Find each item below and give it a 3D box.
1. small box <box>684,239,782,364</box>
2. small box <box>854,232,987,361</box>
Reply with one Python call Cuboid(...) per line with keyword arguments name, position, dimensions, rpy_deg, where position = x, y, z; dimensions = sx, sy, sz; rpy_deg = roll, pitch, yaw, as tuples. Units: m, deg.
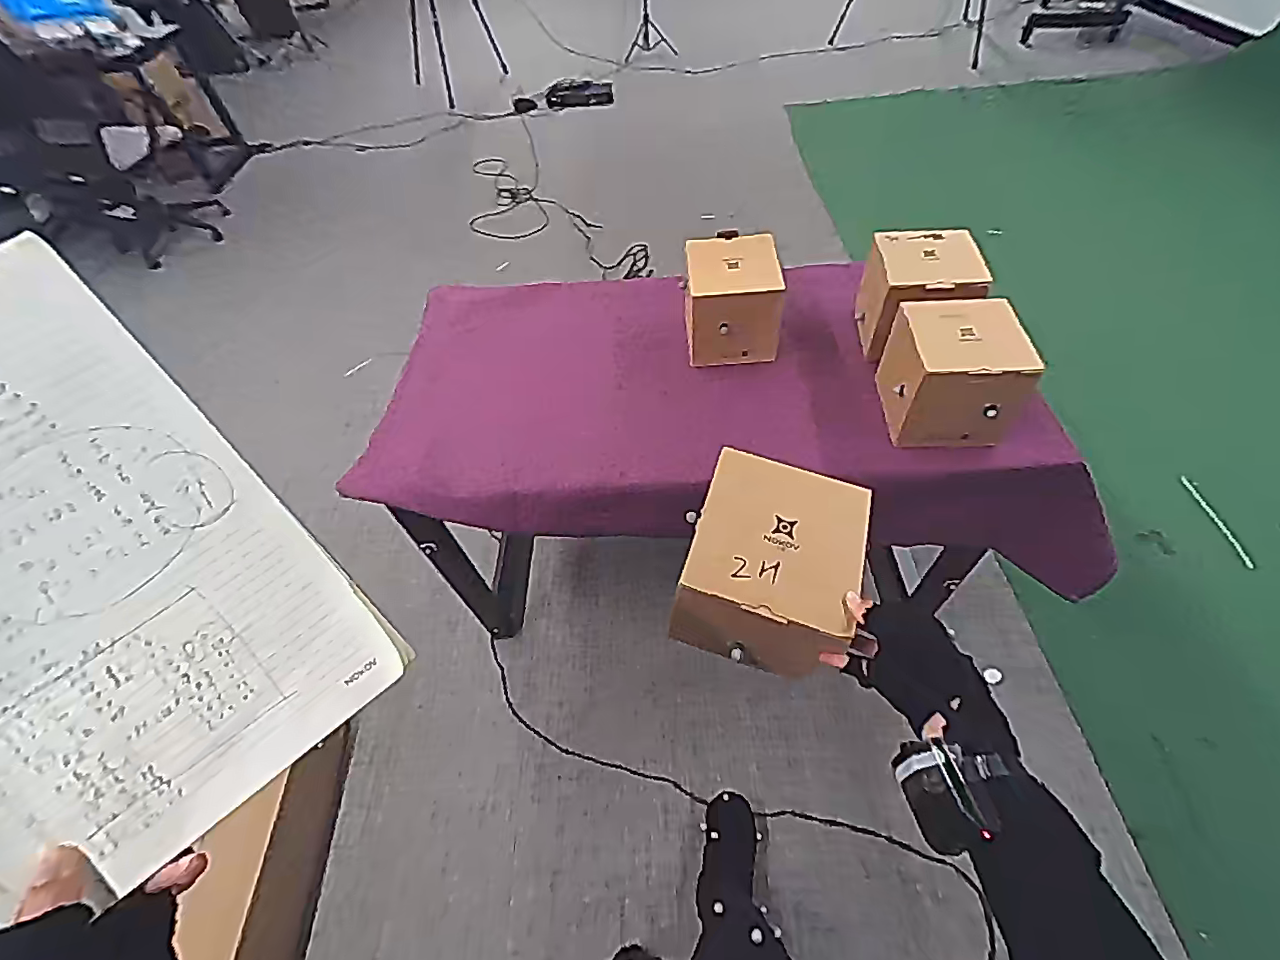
Cuboid(name="small box", position=(0.174, -0.340, 1.055), dimensions=(0.168, 0.176, 0.179), rpy_deg=(-4, 52, 3))
Cuboid(name="small box", position=(0.512, -0.340, 1.016), dimensions=(0.168, 0.176, 0.179), rpy_deg=(2, 54, 8))
